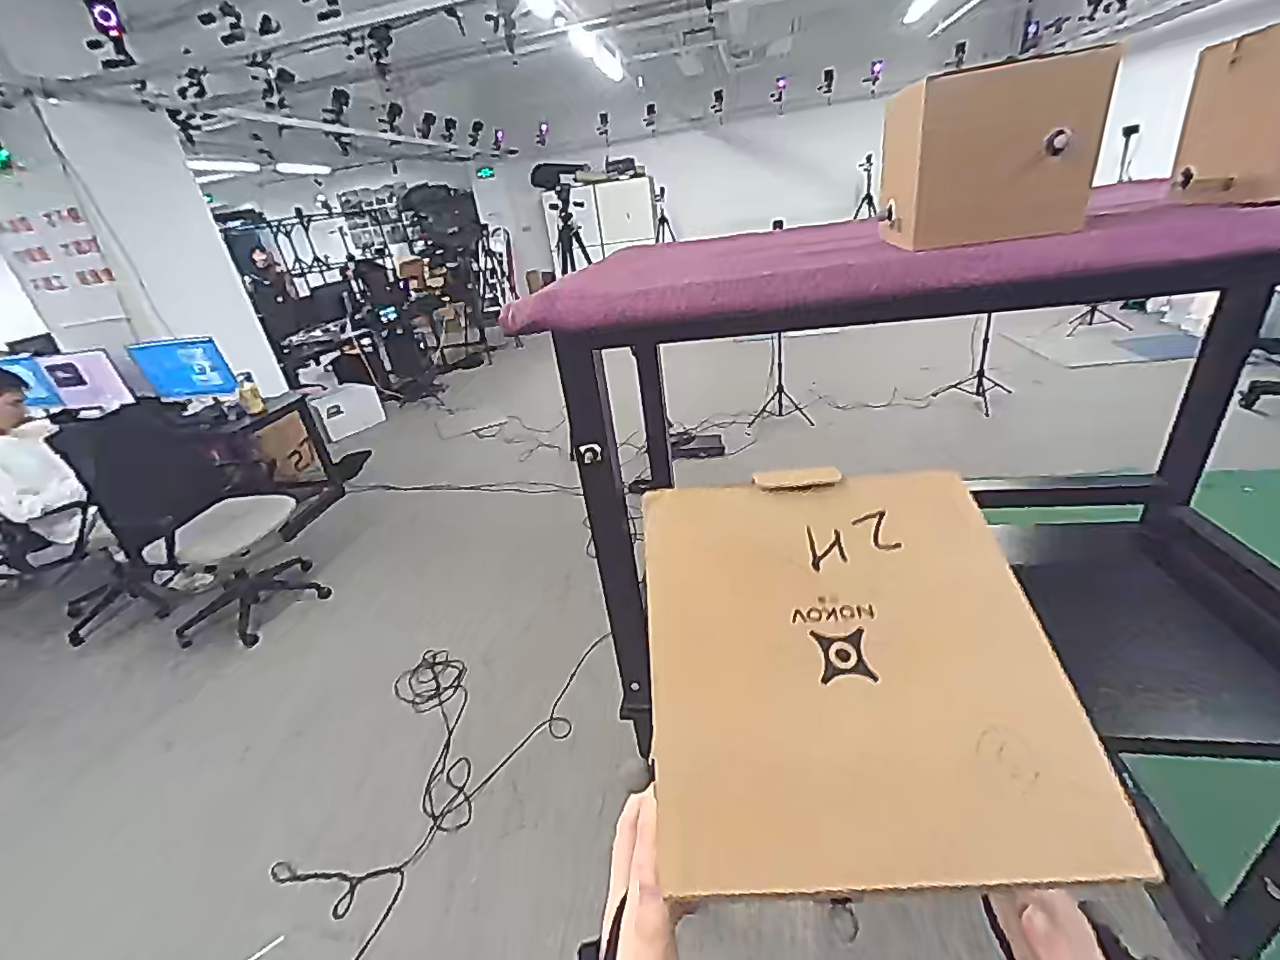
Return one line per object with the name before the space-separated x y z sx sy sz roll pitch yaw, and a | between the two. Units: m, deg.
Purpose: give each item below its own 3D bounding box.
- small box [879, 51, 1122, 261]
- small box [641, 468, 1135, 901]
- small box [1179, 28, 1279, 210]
small box | 0.392 -0.363 0.629 0.179 0.176 0.168 -4 27 11
small box | 0.090 0.116 0.297 0.168 0.176 0.179 -4 52 2
small box | 0.737 -0.391 0.577 0.179 0.176 0.168 -2 26 13
